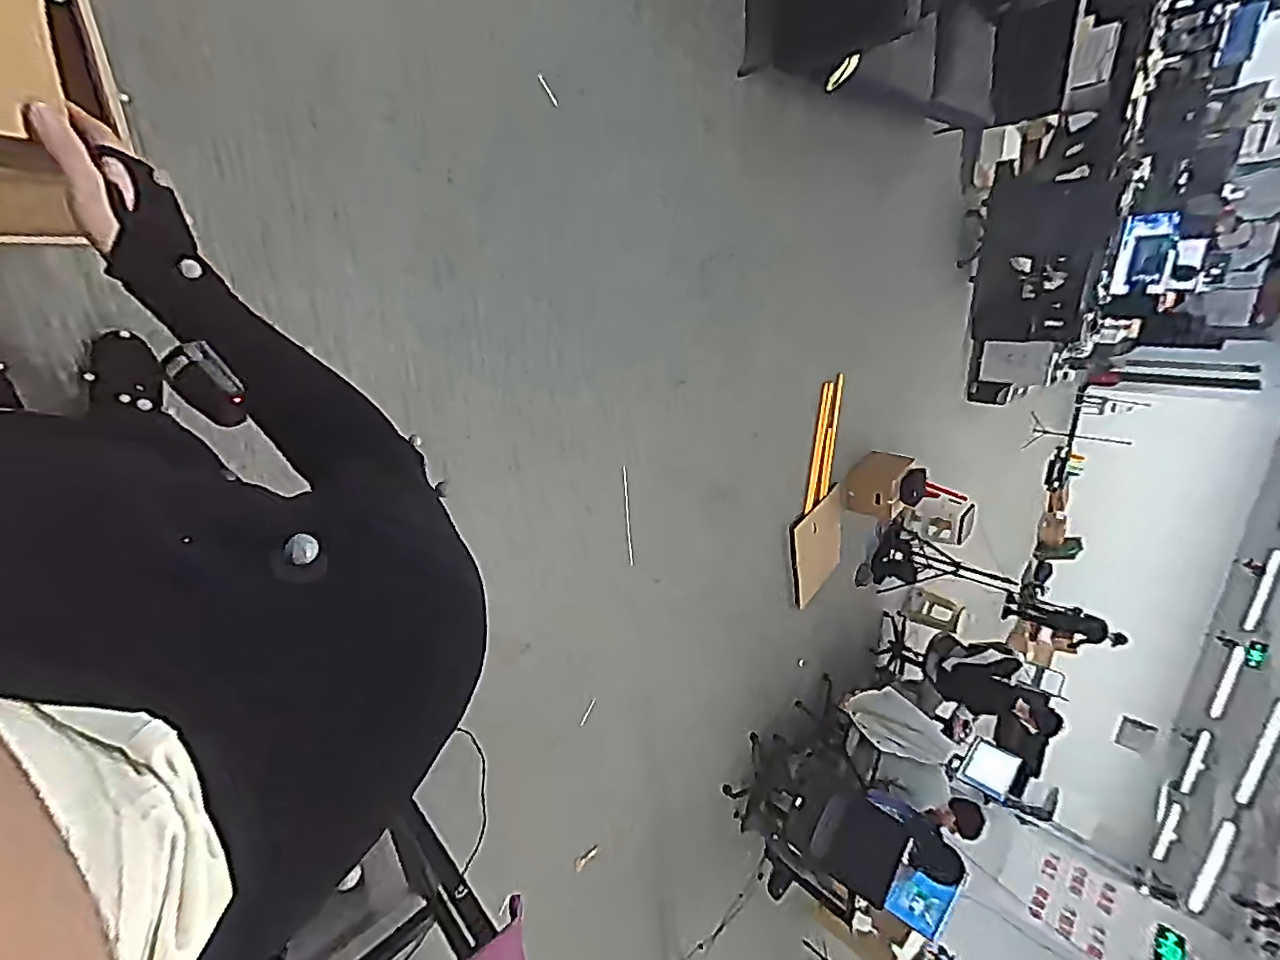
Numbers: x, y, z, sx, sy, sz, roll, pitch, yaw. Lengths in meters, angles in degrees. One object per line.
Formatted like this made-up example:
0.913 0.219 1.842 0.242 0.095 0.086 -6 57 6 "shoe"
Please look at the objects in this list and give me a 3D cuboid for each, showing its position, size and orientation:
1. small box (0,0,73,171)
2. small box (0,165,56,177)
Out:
-0.553 -0.351 0.395 0.168 0.176 0.179 -13 113 -44 "small box"
-0.854 -0.481 0.653 0.168 0.176 0.179 -20 115 -40 "small box"
